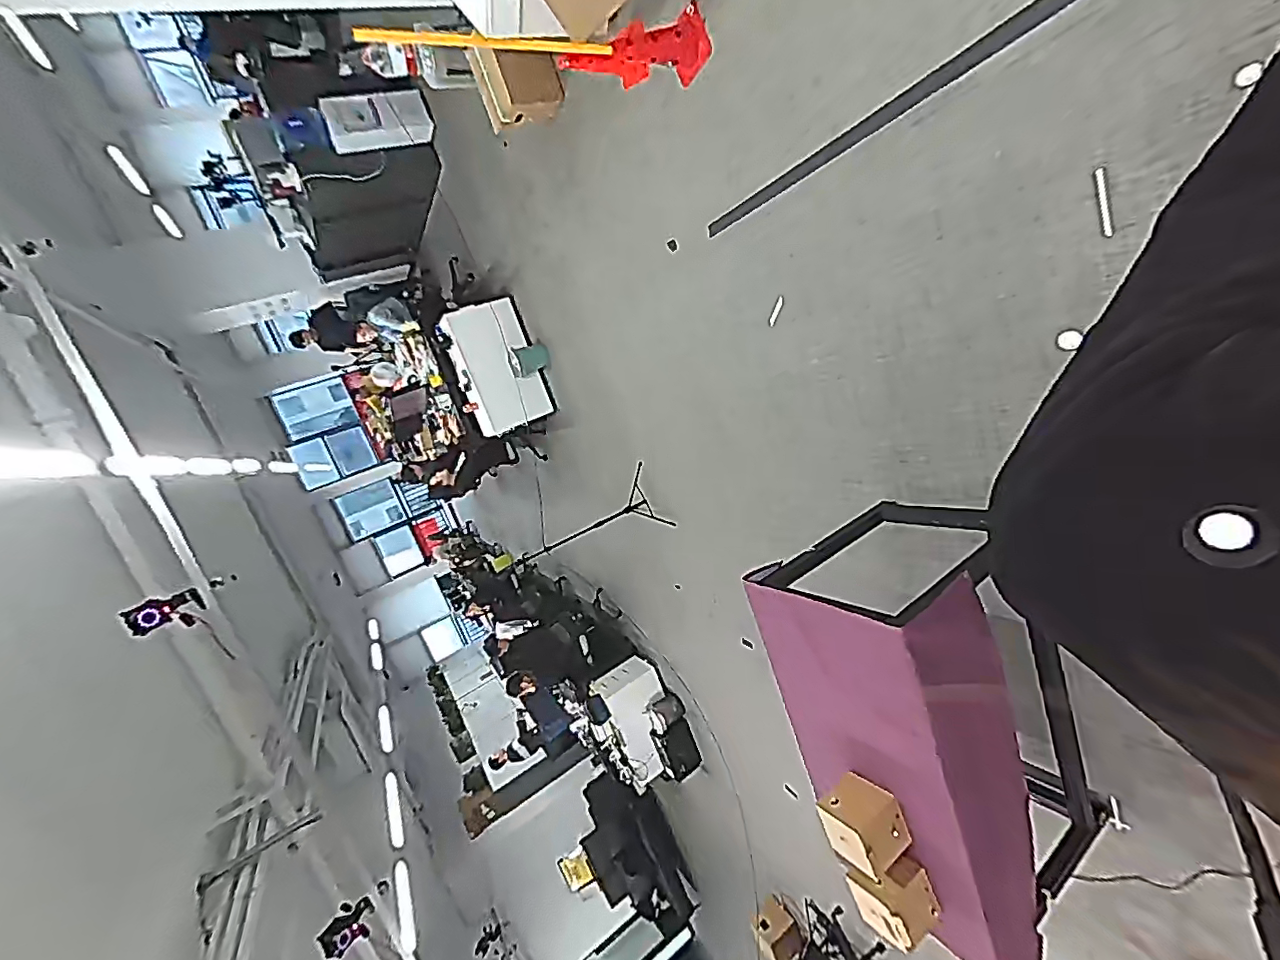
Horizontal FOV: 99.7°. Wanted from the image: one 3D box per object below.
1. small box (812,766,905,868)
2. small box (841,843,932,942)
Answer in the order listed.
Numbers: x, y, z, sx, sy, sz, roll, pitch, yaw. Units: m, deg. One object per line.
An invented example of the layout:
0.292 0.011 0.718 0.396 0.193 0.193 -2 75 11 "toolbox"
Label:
0.668 1.018 1.654 0.179 0.176 0.168 -6 109 63 "small box"
0.771 1.252 1.678 0.179 0.176 0.168 -14 100 65 "small box"
